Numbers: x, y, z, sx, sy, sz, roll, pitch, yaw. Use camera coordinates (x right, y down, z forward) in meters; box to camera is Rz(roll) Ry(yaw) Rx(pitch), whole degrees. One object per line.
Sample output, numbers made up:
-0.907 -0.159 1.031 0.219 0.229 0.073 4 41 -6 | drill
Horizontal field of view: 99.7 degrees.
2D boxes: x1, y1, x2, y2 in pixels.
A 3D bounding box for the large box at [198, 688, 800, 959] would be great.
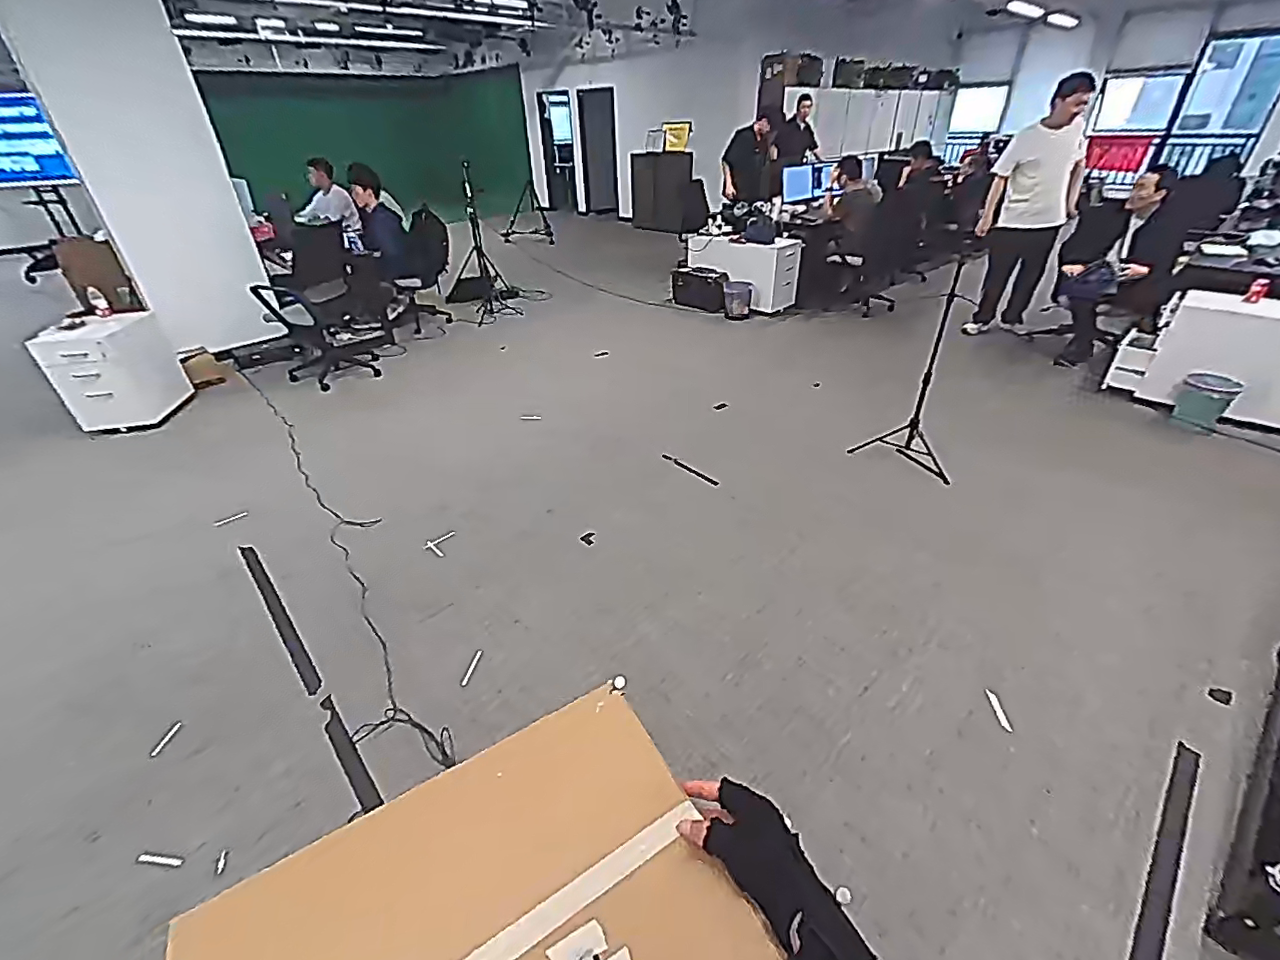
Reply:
-0.114 0.493 0.513 0.408 0.320 0.320 -20 43 -26 | large box
